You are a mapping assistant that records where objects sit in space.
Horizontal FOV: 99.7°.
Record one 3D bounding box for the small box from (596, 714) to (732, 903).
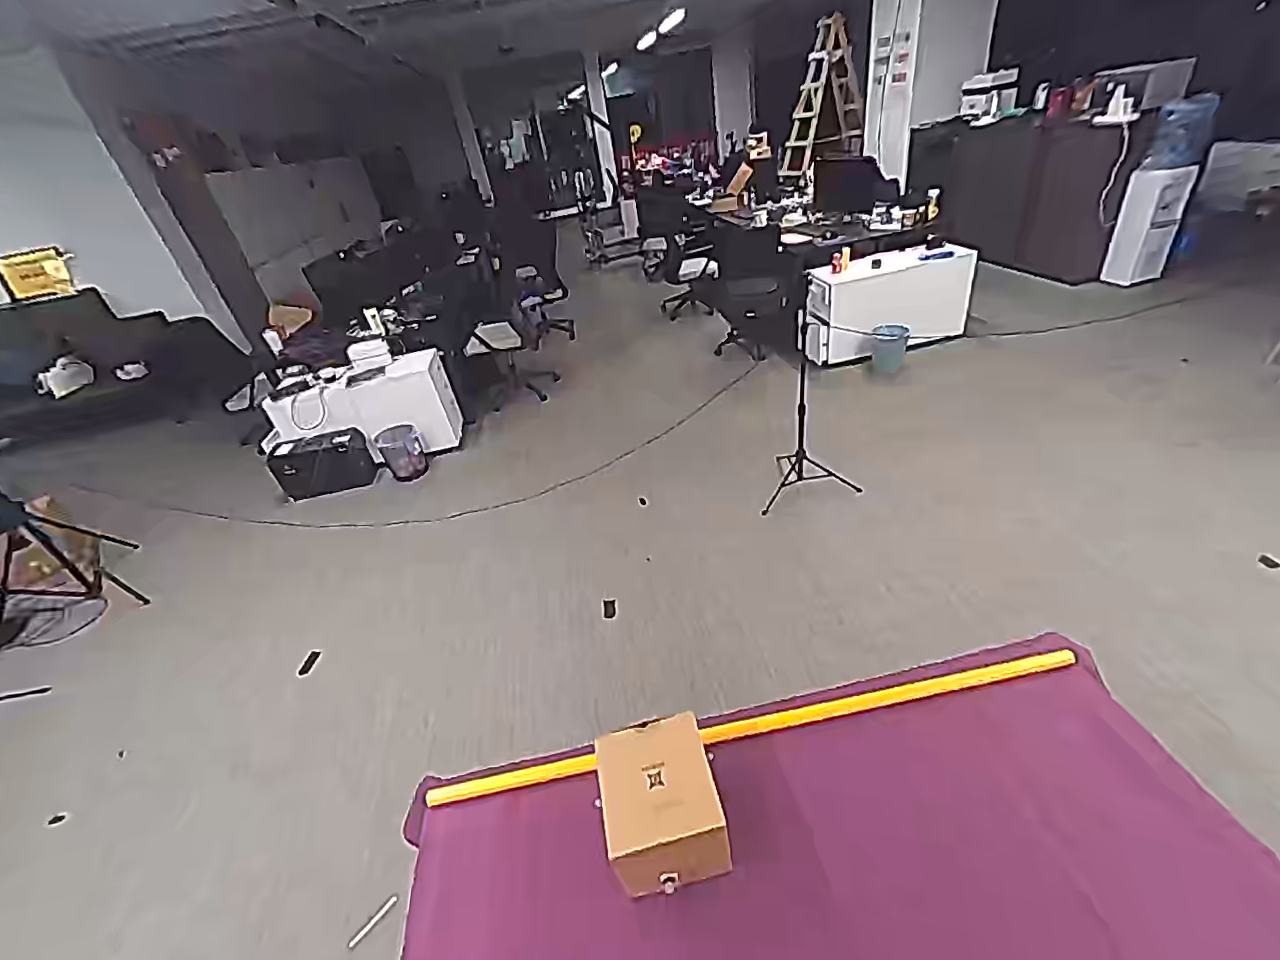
[{"bbox_3d":[0.035,0.502,0.834,0.168,0.176,0.179,-14,35,-4],"label":"small box"}]
